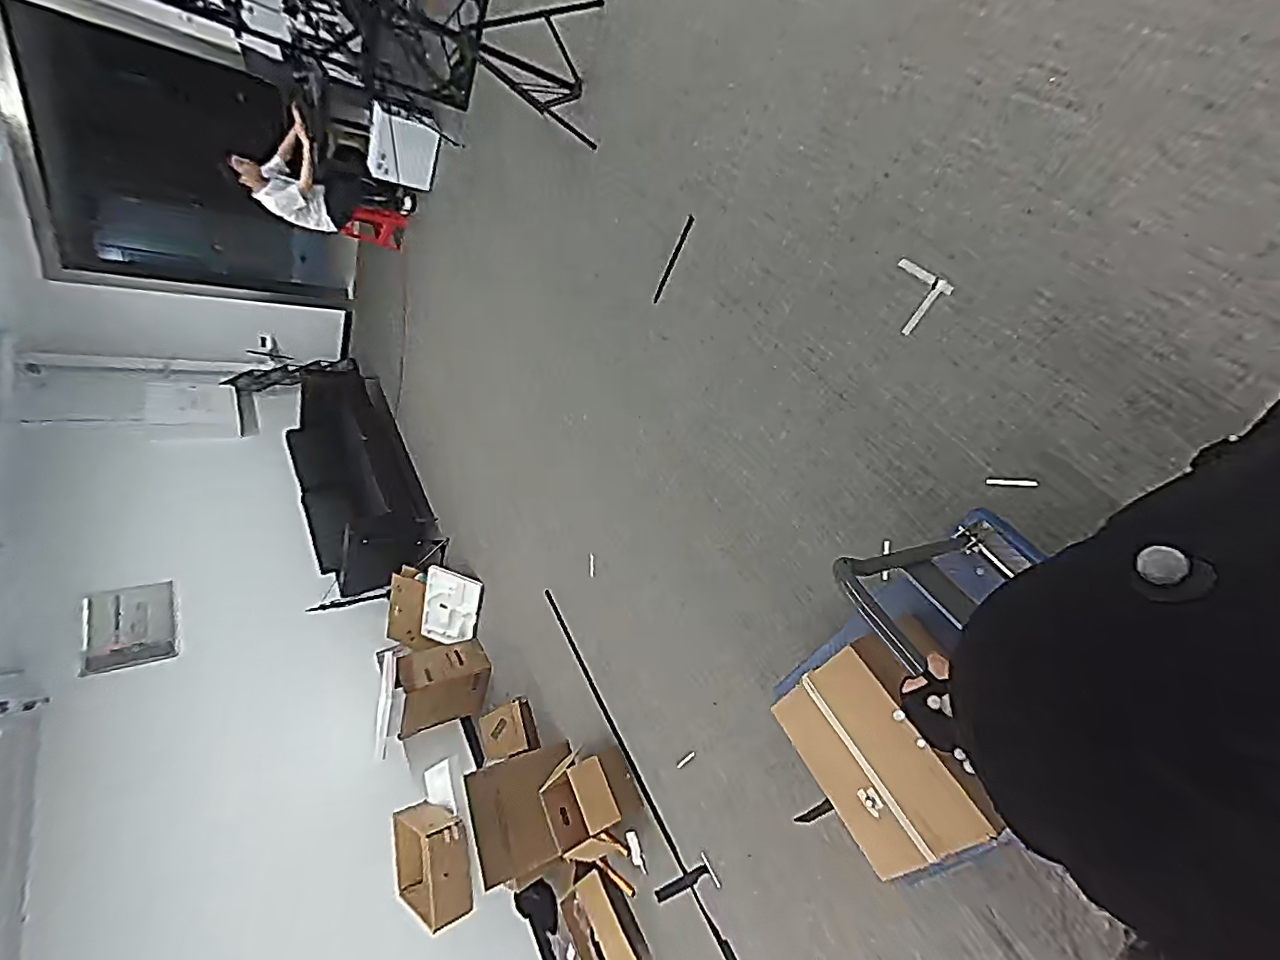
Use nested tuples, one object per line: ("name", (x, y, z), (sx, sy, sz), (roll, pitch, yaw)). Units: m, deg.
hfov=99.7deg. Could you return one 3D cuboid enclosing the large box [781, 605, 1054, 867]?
("large box", (0.622, 0.563, 1.252), (0.408, 0.320, 0.320), (56, 133, 30))
